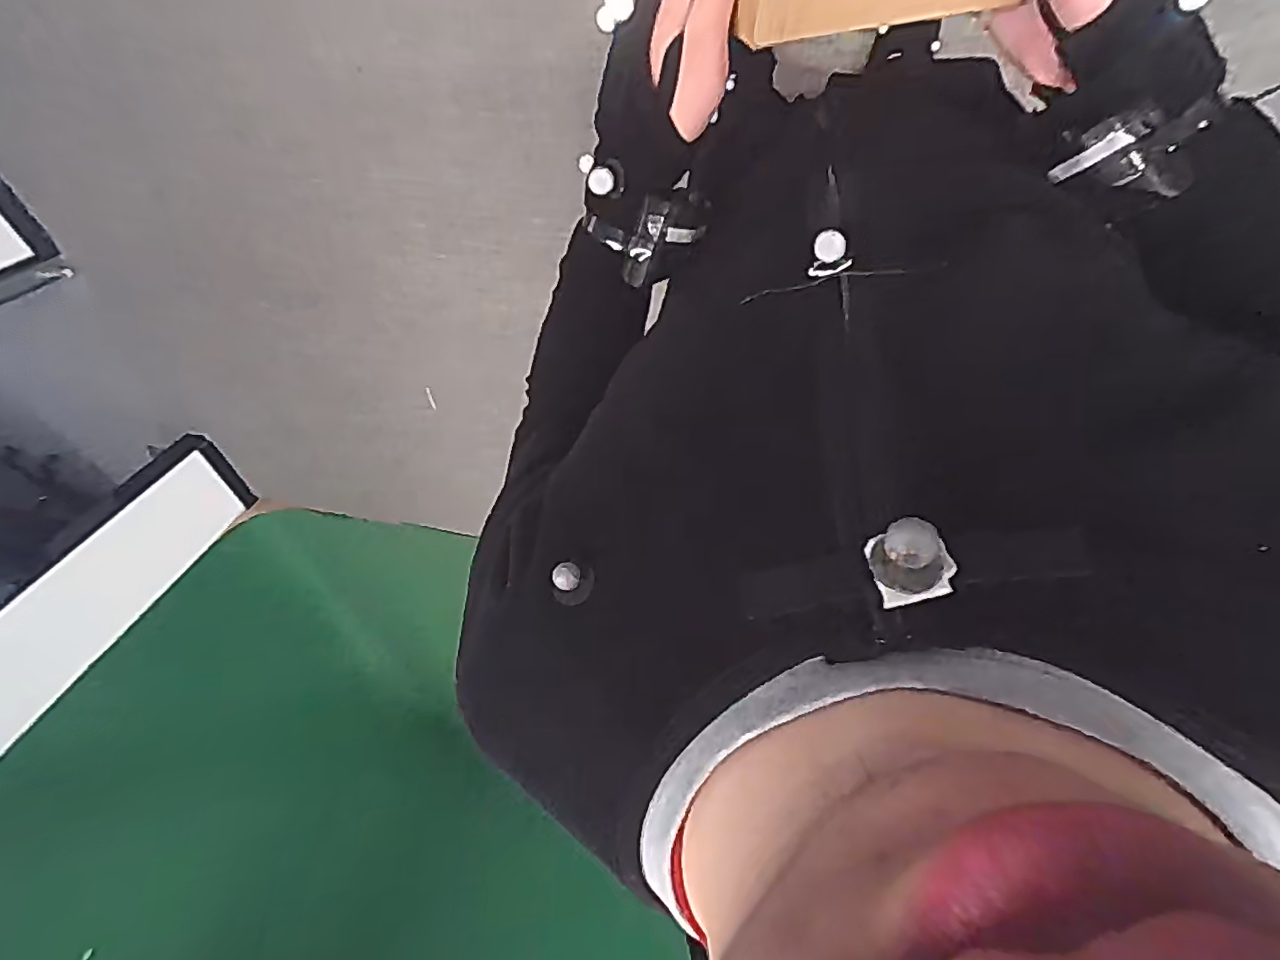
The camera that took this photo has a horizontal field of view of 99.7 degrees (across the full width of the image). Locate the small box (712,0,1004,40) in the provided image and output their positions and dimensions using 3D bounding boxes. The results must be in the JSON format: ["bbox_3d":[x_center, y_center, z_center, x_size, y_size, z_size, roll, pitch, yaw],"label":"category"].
[{"bbox_3d":[0.102,-0.360,0.270,0.168,0.176,0.179,-15,145,-8],"label":"small box"}]
